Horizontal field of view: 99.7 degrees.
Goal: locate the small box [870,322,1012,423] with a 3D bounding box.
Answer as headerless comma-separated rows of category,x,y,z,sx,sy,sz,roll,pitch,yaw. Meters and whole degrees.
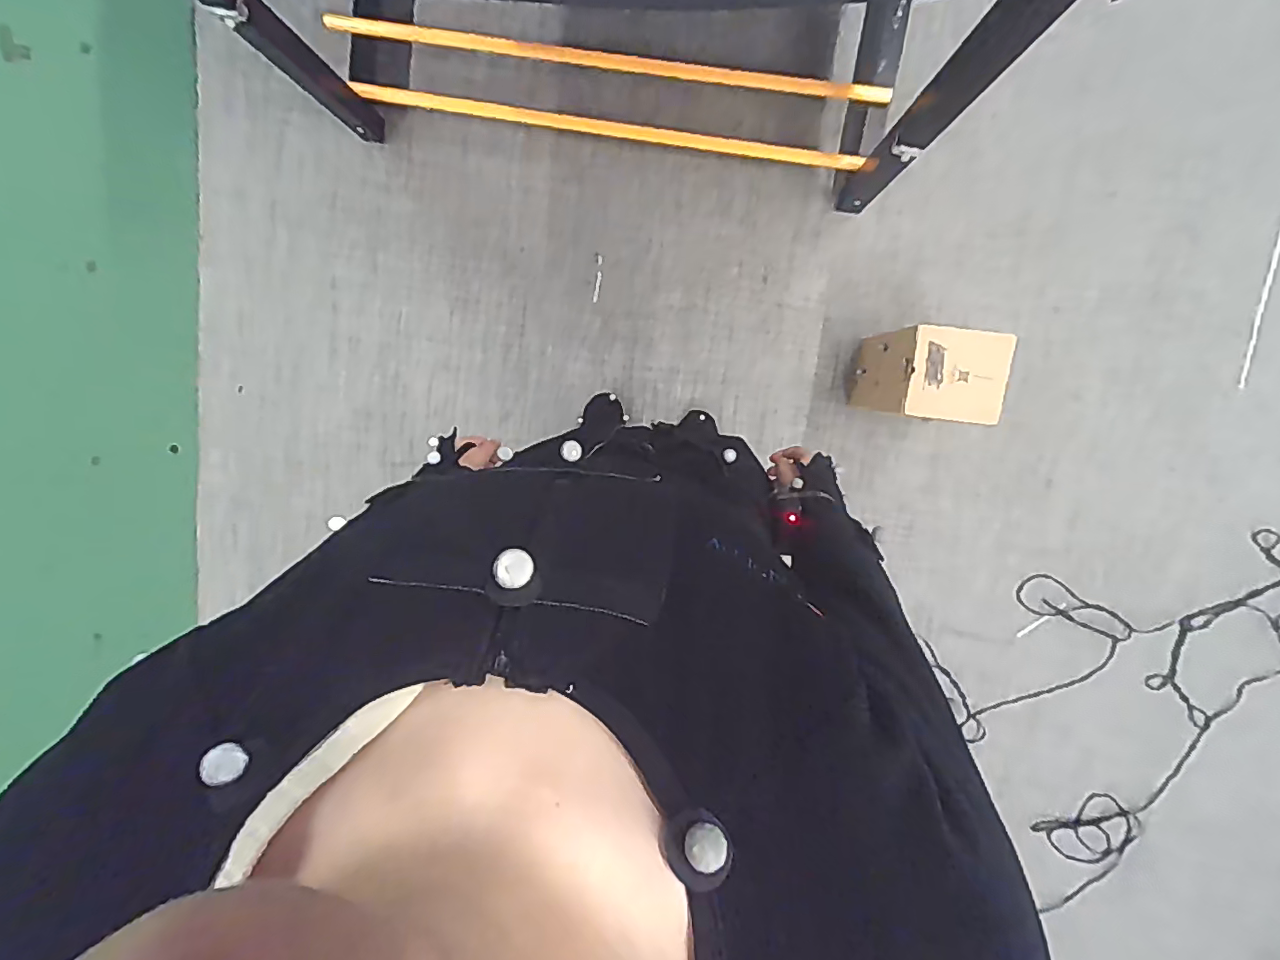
small box,0.574,-0.205,1.057,0.179,0.176,0.168,7,99,1

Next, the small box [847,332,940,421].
small box,0.594,-0.230,1.219,0.179,0.176,0.168,9,98,1
